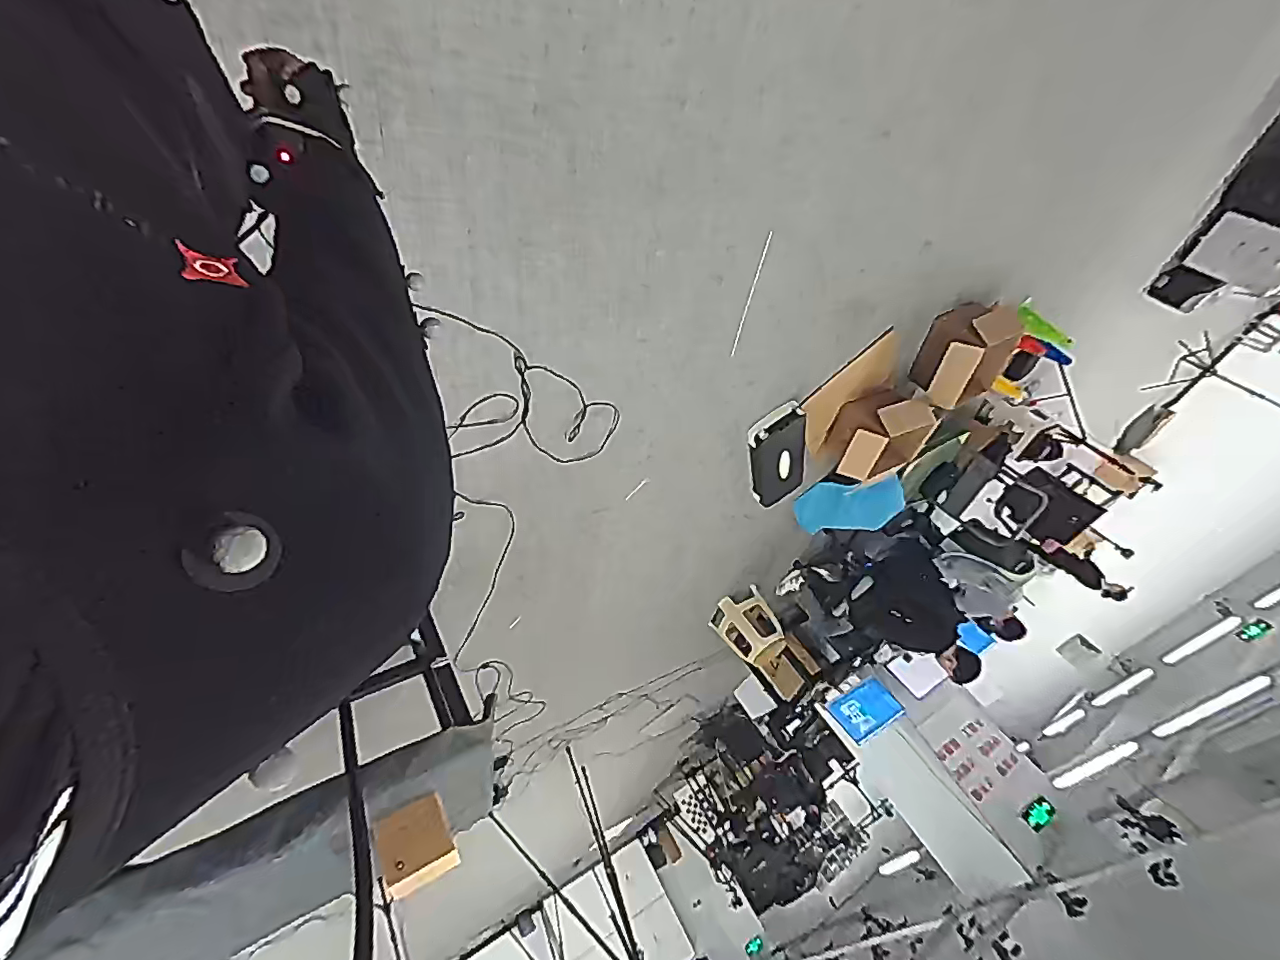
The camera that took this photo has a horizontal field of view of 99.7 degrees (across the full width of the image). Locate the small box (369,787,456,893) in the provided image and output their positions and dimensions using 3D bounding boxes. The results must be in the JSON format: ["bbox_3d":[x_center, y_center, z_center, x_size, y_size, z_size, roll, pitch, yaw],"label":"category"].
[{"bbox_3d":[-0.626,0.988,1.494,0.179,0.176,0.168,-17,142,-28],"label":"small box"}]
